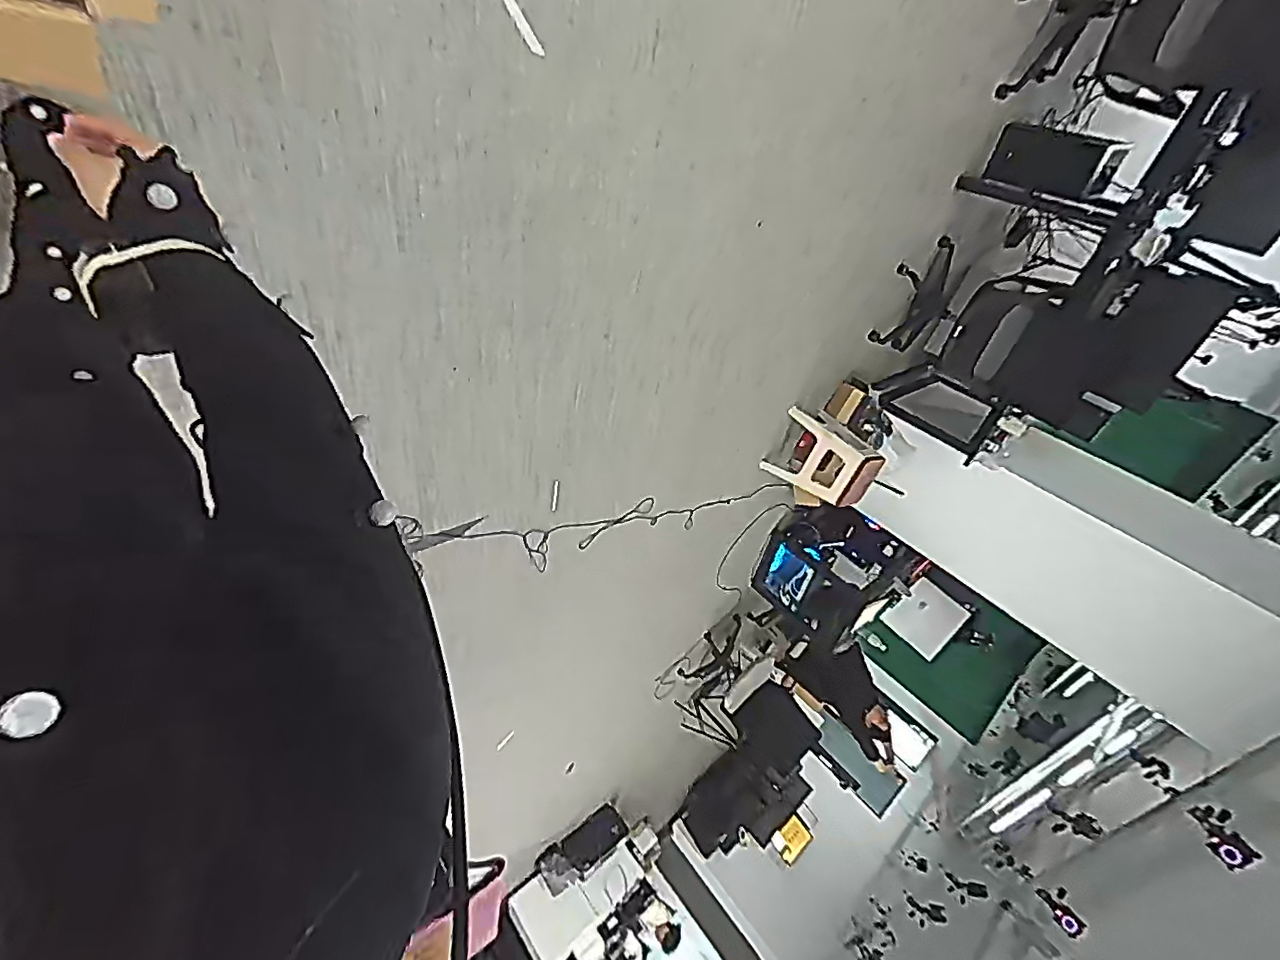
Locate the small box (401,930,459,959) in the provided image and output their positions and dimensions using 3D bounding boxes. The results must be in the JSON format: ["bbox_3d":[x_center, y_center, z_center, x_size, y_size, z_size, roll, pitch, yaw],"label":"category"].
[{"bbox_3d":[-0.583,1.402,1.487,0.168,0.176,0.179,-15,133,-43],"label":"small box"}]
